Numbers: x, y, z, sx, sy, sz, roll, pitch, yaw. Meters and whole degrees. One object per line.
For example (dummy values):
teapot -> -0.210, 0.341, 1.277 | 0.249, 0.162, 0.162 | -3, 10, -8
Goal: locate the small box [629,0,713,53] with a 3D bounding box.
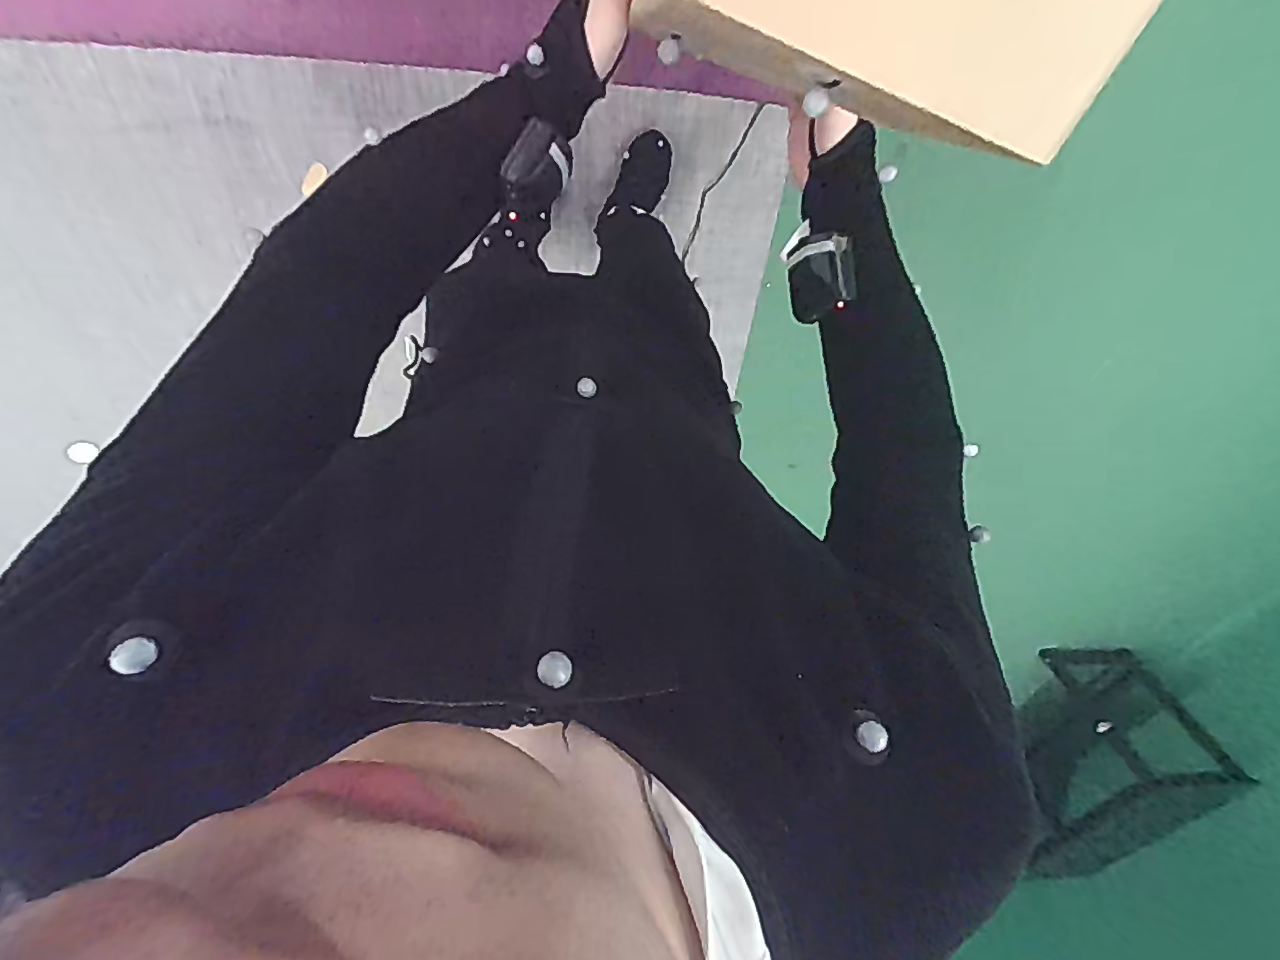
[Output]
small box -> 0.093, -0.481, 0.474 | 0.179, 0.176, 0.168 | 11, 126, -13

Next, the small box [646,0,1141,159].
small box -> 0.108, -0.265, 0.228 | 0.179, 0.176, 0.168 | 13, 127, -14
